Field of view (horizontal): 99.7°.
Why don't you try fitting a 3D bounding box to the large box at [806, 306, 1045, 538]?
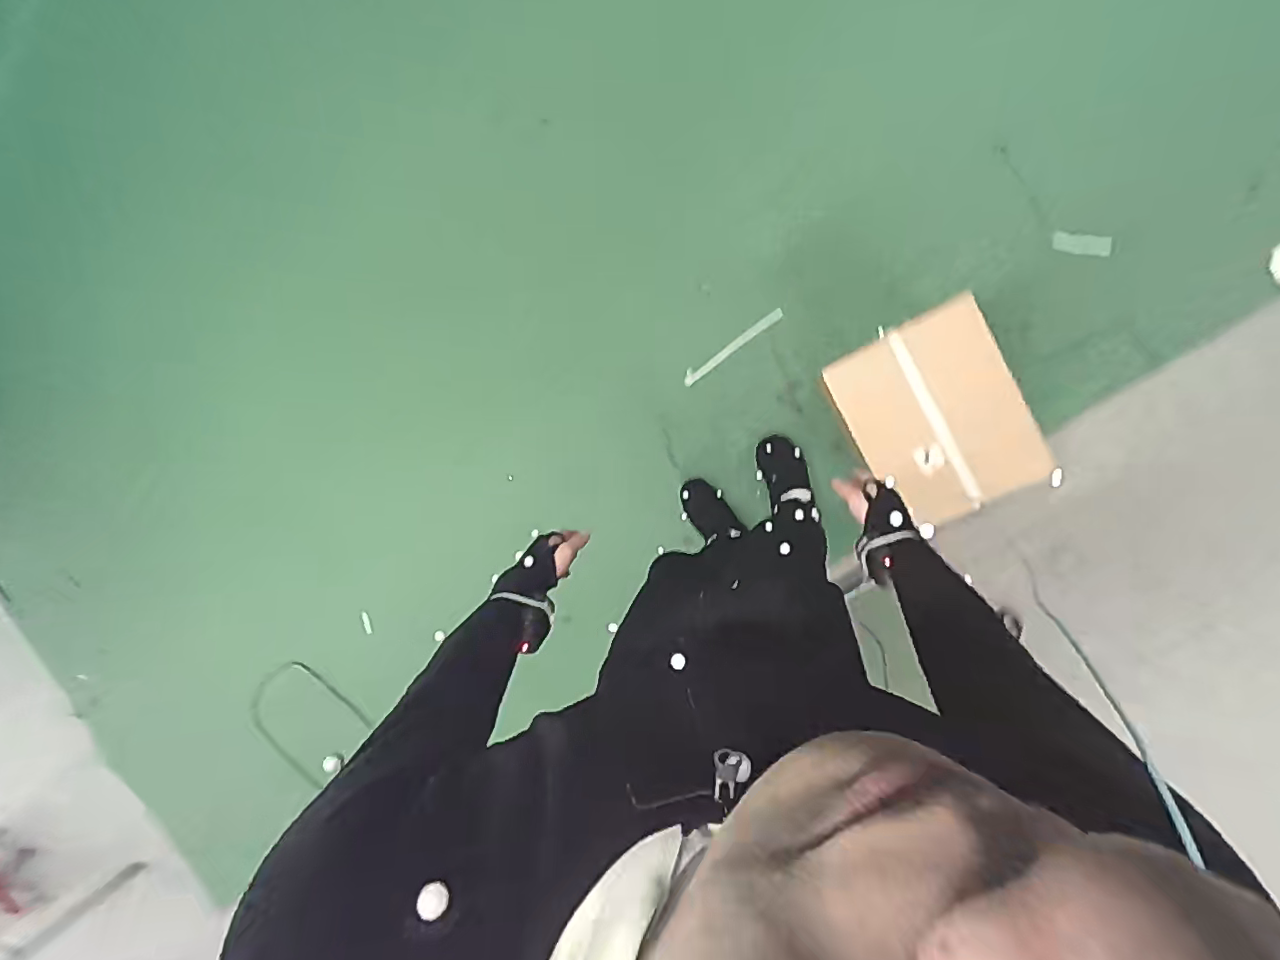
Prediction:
[{"bbox_3d":[0.632,-0.137,1.273,0.320,0.320,0.408,-27,93,17],"label":"large box"}]
